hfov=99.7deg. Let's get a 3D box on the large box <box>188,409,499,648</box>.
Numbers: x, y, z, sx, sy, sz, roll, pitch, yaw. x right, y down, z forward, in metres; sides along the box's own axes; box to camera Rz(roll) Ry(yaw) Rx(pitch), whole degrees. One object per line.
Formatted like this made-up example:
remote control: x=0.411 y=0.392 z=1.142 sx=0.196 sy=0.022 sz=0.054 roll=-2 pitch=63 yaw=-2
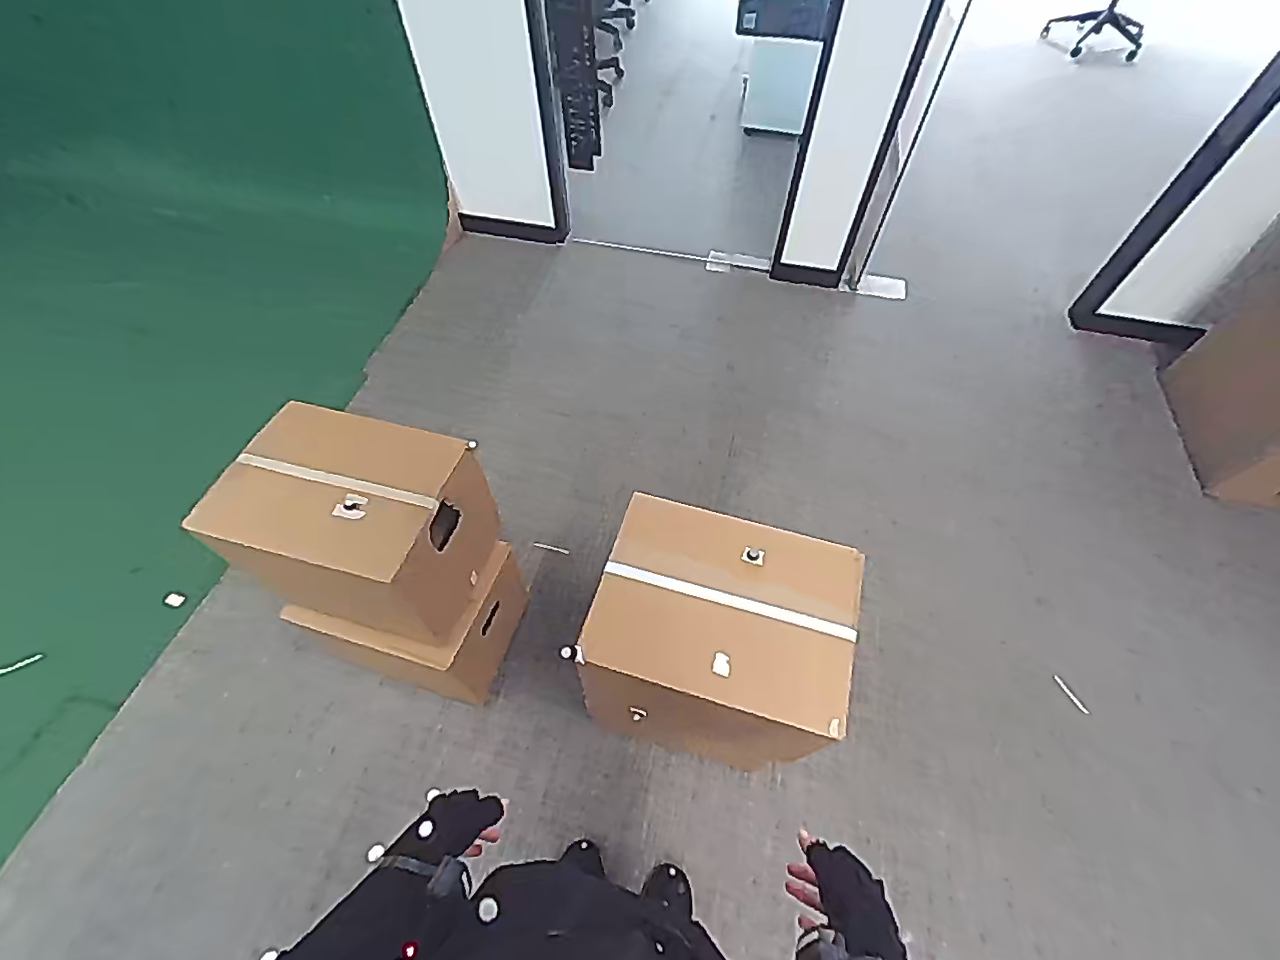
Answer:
large box: x=-0.558 y=0.102 z=1.110 sx=0.408 sy=0.320 sz=0.320 roll=14 pitch=54 yaw=7
